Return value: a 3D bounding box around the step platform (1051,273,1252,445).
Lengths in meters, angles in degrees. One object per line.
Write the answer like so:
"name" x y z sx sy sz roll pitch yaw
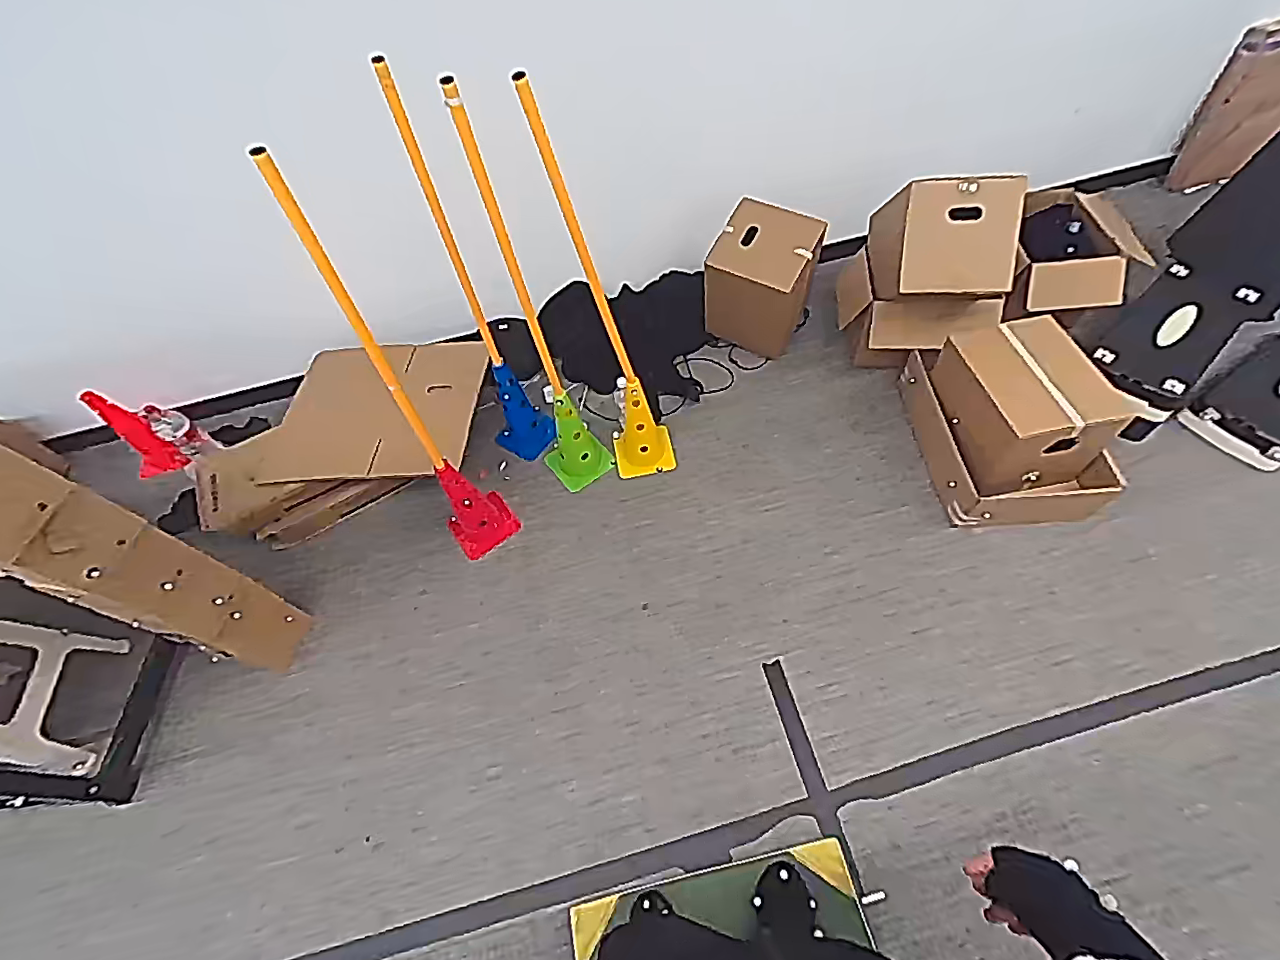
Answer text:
"step platform" 1.721 -0.424 1.823 0.684 0.204 0.286 -40 61 -18
